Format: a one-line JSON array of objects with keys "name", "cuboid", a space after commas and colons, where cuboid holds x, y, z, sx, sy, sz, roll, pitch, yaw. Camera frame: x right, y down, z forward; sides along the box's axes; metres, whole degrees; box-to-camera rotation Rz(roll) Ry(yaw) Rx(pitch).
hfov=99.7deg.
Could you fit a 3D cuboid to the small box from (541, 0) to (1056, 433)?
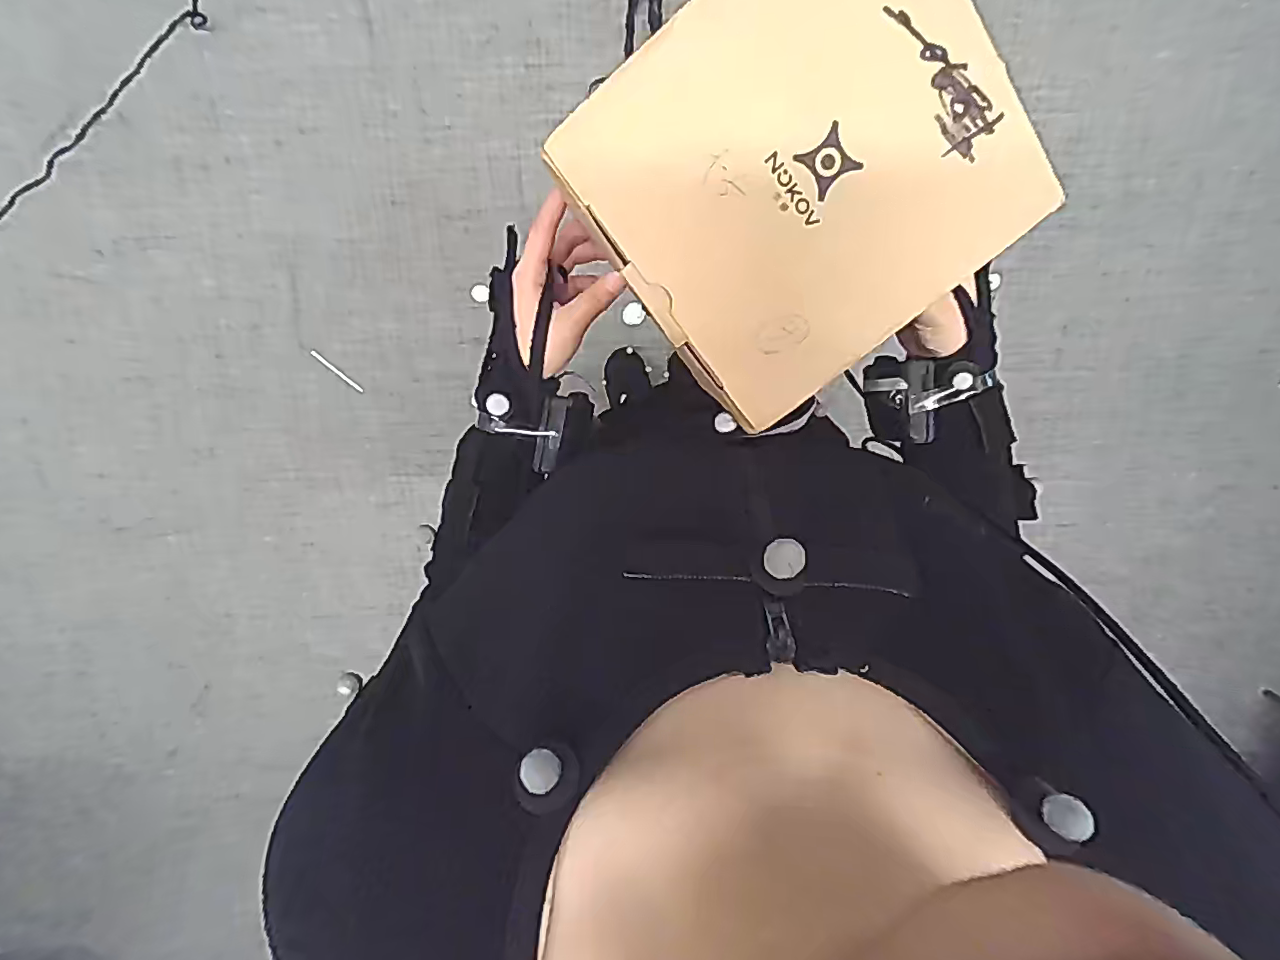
[{"name": "small box", "cuboid": [0.072, -0.156, 0.317, 0.179, 0.176, 0.168, -37, 105, 11]}]
